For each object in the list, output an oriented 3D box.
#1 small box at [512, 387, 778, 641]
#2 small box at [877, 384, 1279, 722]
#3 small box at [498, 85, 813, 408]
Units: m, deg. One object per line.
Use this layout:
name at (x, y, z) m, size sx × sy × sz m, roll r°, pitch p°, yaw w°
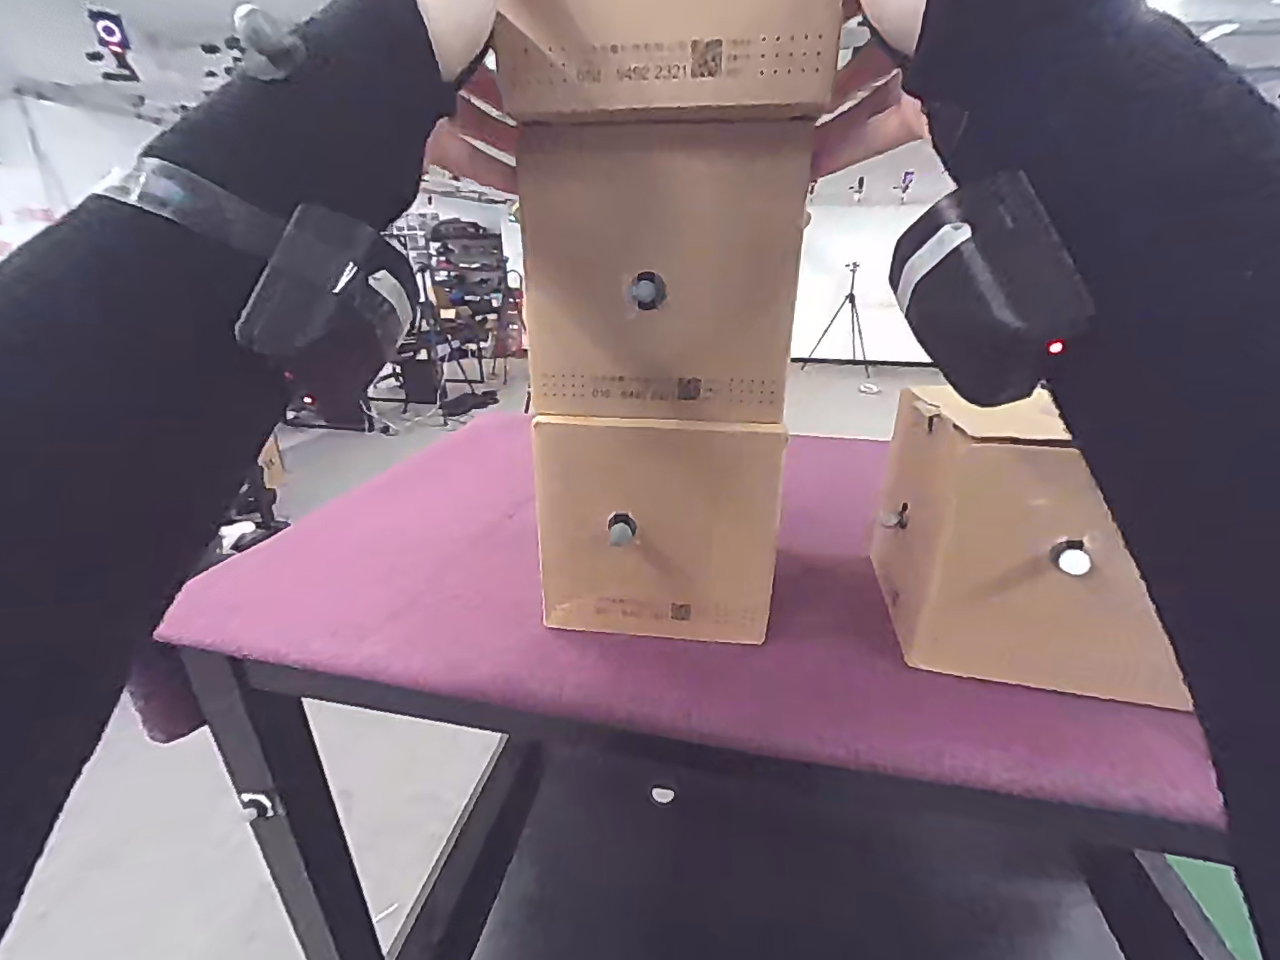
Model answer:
small box at (0.011, 0.005, 0.429) m, size 0.168 × 0.176 × 0.179 m, roll 4°, pitch 23°, yaw 6°
small box at (0.274, 0.036, 0.375) m, size 0.179 × 0.176 × 0.168 m, roll 7°, pitch 23°, yaw 12°
small box at (0.015, -0.152, 0.379) m, size 0.168 × 0.176 × 0.179 m, roll 5°, pitch 23°, yaw 6°
